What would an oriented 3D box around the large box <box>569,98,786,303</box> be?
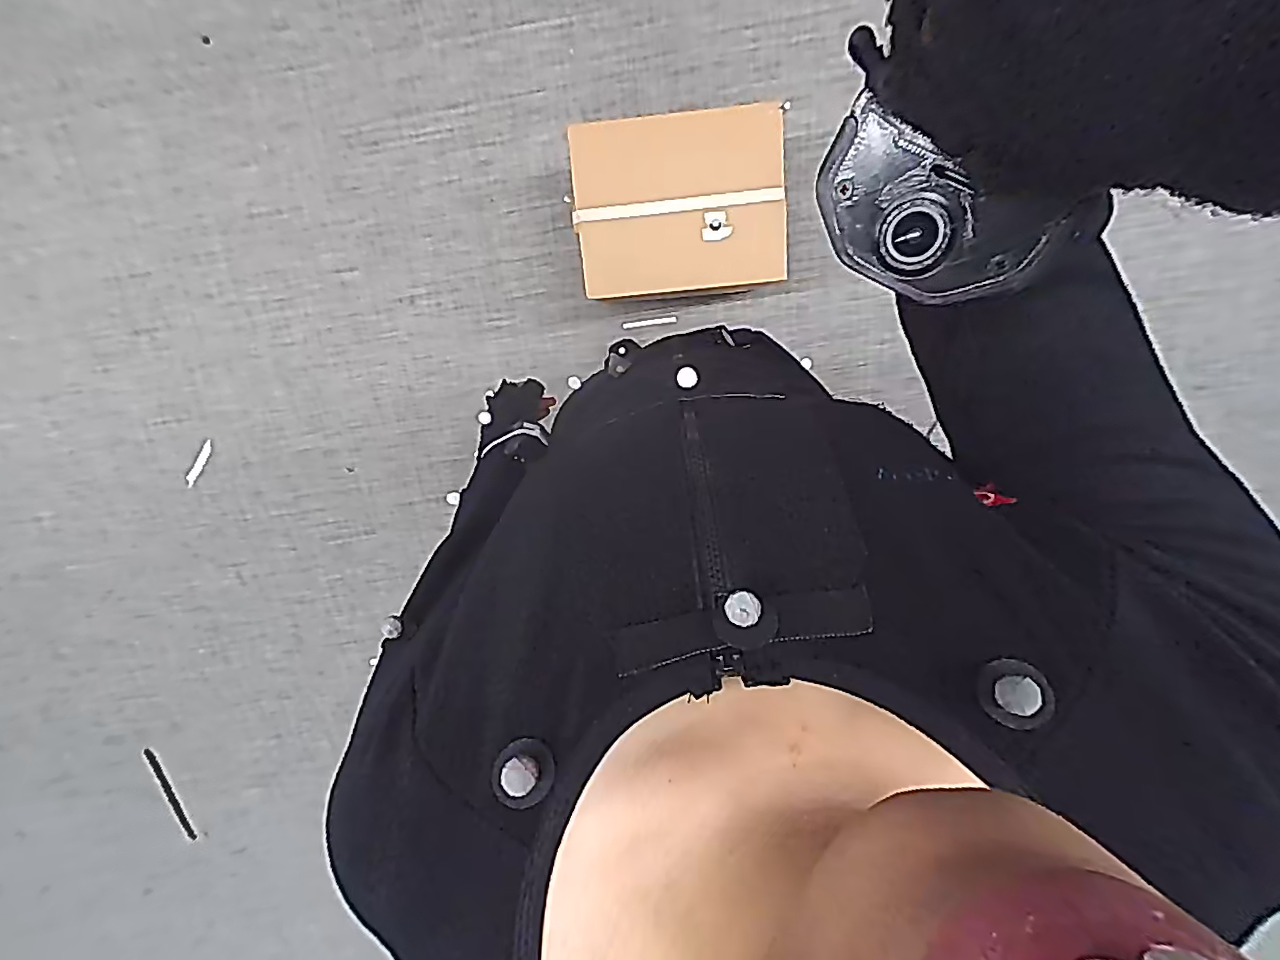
[{"bbox_3d":[0.080,-0.580,1.191,0.408,0.320,0.320,-5,106,2],"label":"large box"}]
